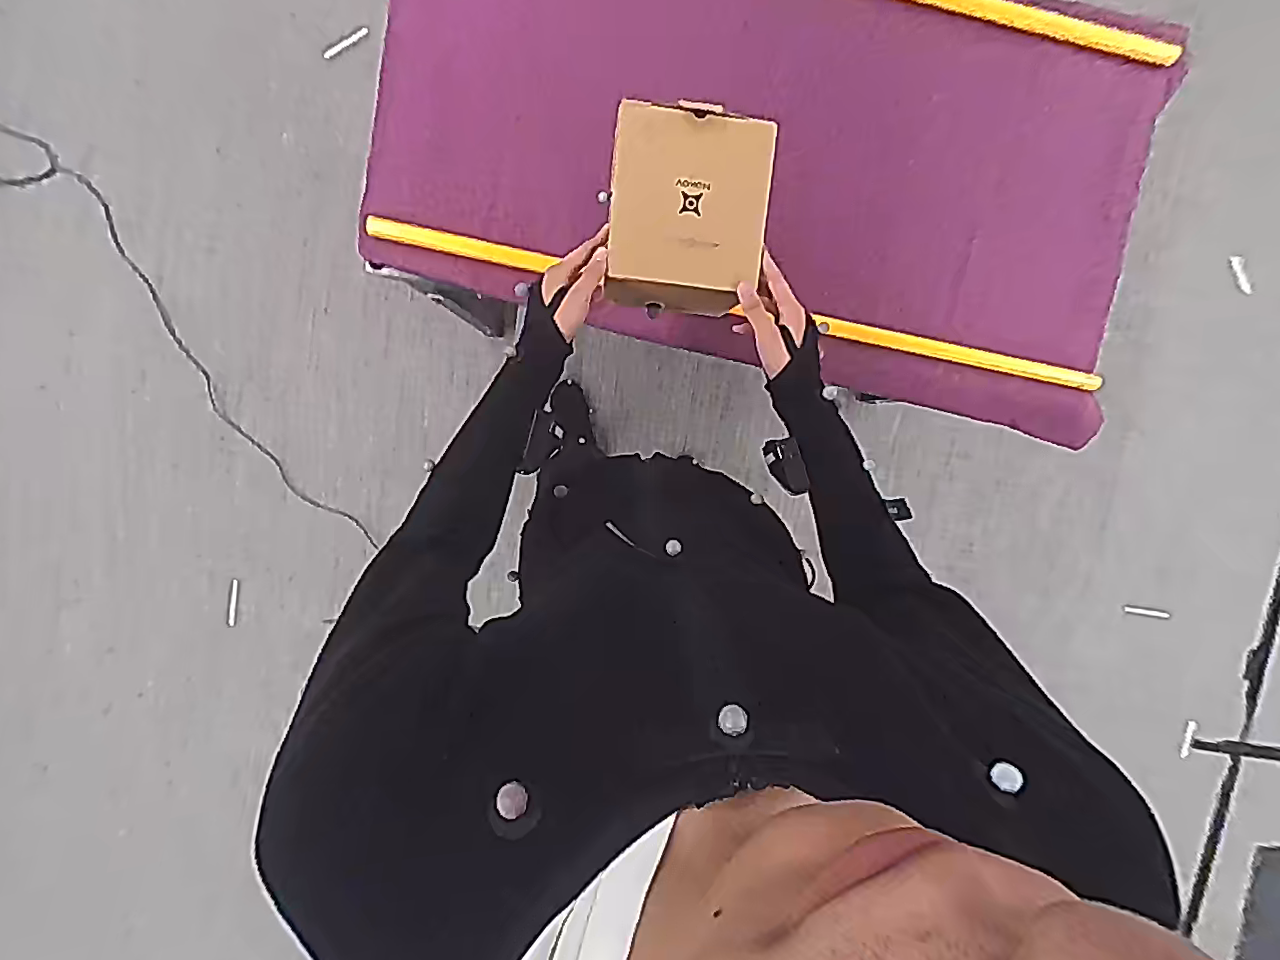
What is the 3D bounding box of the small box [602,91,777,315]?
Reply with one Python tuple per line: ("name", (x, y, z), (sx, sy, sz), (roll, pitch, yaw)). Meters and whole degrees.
("small box", (0.045, -0.306, 0.635), (0.168, 0.176, 0.179), (5, 97, -5))
